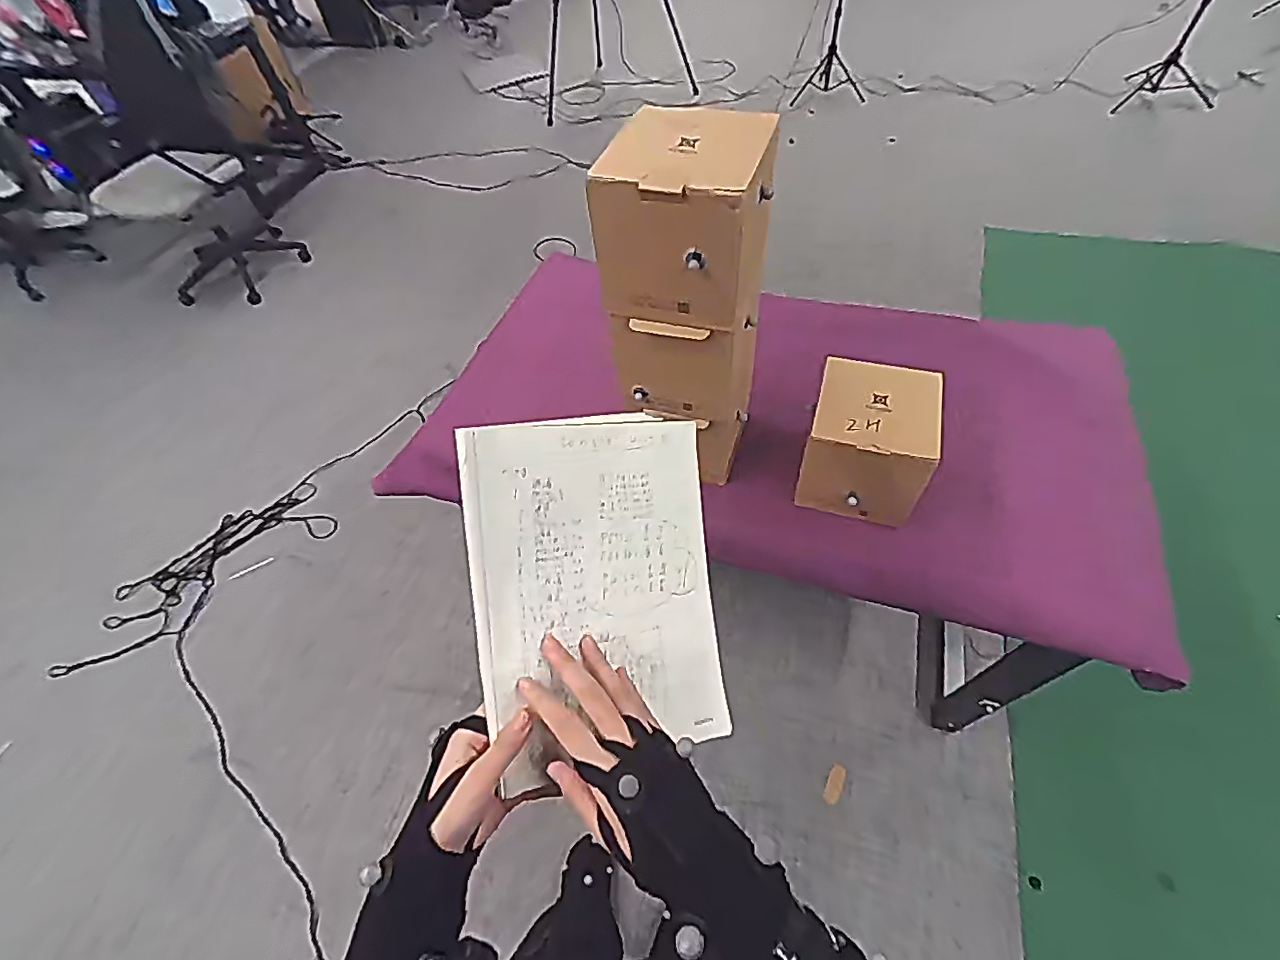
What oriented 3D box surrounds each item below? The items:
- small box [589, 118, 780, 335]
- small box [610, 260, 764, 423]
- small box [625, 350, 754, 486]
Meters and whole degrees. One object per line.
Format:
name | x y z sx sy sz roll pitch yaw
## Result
small box | 0.058 -0.298 0.642 0.168 0.176 0.179 14 56 15
small box | 0.073 -0.206 0.776 0.168 0.176 0.179 14 56 15
small box | 0.090 -0.114 0.912 0.168 0.176 0.179 13 57 16
